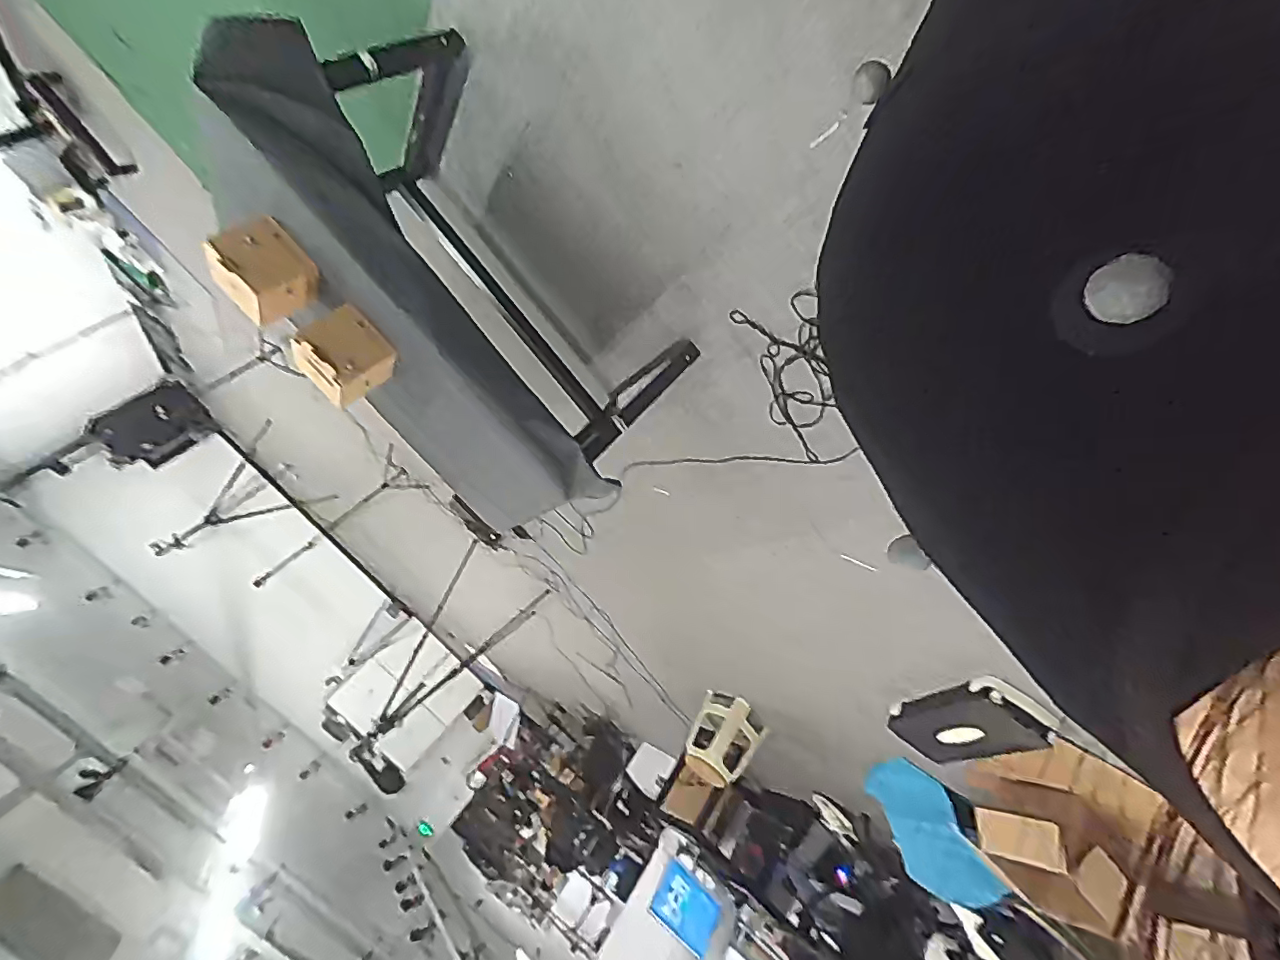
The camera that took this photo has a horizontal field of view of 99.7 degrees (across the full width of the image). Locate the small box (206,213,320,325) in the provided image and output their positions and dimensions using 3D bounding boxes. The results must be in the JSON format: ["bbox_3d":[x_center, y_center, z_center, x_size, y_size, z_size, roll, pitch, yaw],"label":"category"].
[{"bbox_3d":[-0.939,-0.534,1.365,0.168,0.176,0.179,50,149,-10],"label":"small box"}]
